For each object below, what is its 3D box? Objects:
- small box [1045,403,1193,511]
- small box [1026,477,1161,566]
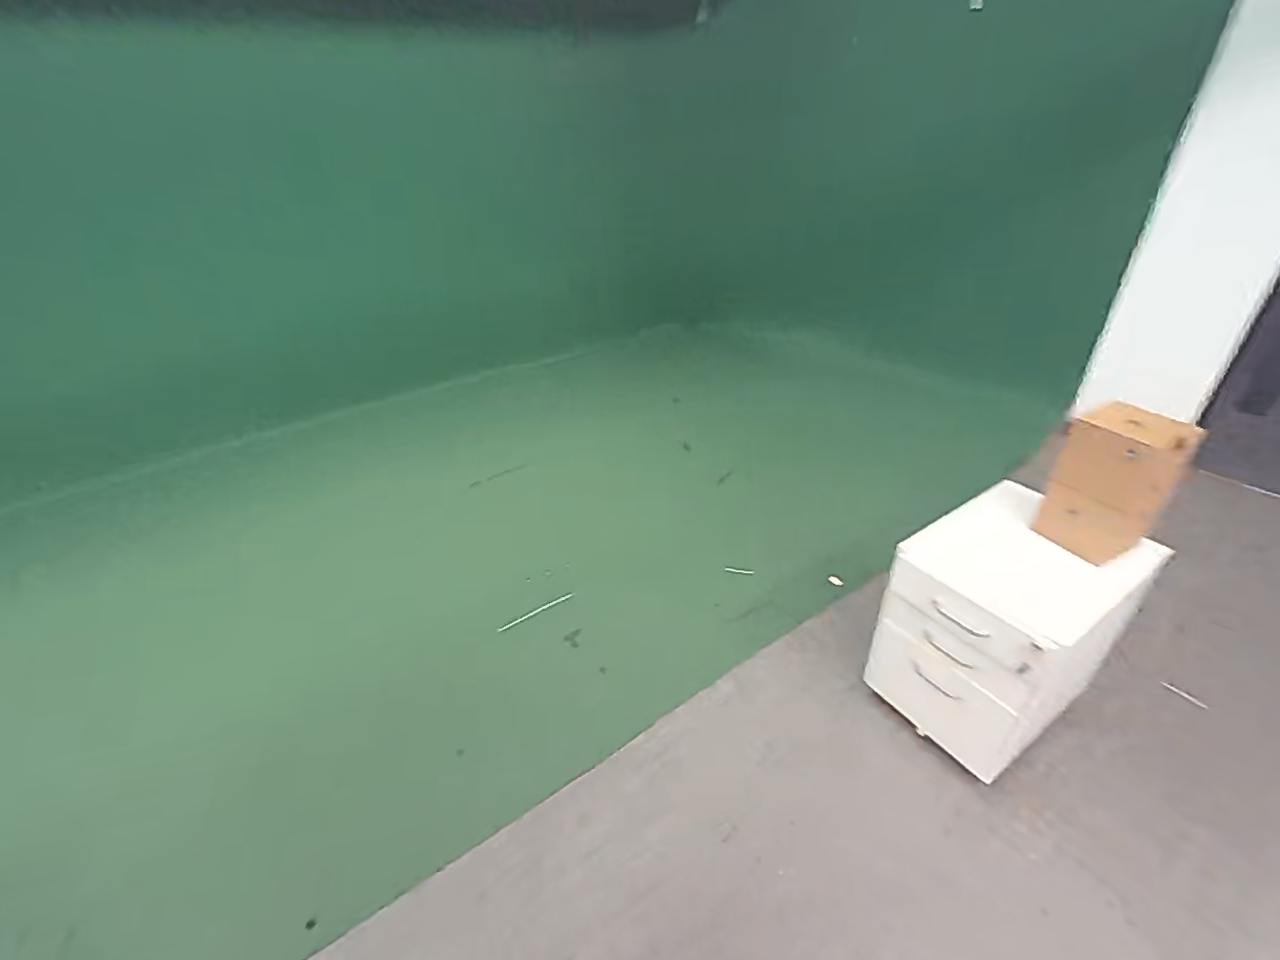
[{"bbox_3d":[1.093,-0.055,1.252,0.168,0.176,0.179,-18,36,-20],"label":"small box"},{"bbox_3d":[1.109,0.082,1.339,0.168,0.176,0.179,-18,35,-19],"label":"small box"}]
